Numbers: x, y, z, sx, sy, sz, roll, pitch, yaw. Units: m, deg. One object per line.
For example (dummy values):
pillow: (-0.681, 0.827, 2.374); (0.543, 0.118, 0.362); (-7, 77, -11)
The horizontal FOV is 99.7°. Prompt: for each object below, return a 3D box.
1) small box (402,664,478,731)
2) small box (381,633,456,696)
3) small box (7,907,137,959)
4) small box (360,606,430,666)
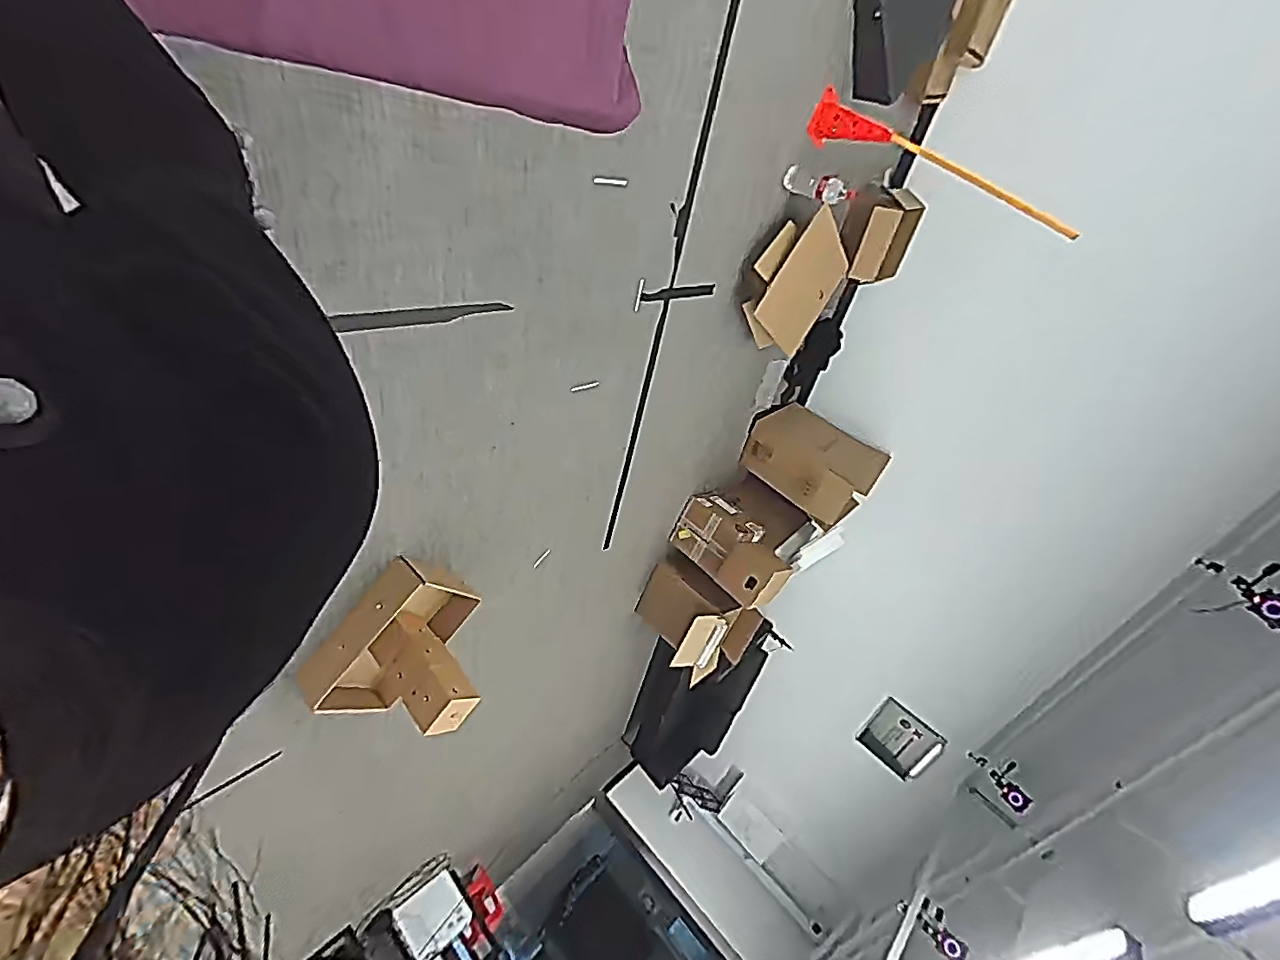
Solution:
small box: (-0.757, 0.812, 2.036); (0.168, 0.176, 0.179); (-50, 152, 1)
small box: (-0.868, 0.718, 2.114); (0.168, 0.176, 0.179); (-51, 153, 0)
small box: (-1.384, 1.175, 1.298); (0.179, 0.176, 0.168); (-48, 151, -9)
small box: (-0.985, 0.633, 2.187); (0.168, 0.176, 0.179); (-50, 152, -4)
